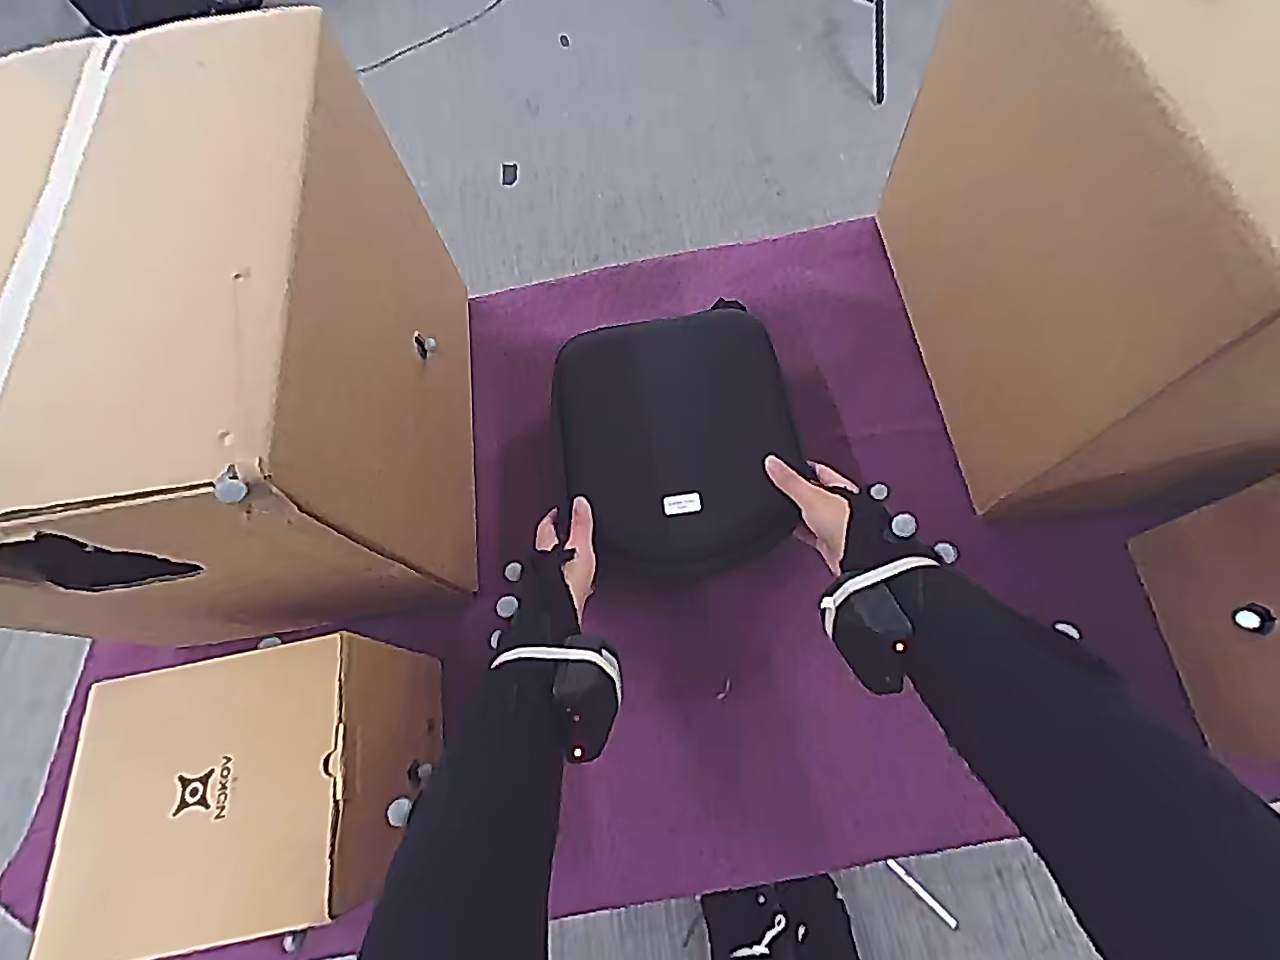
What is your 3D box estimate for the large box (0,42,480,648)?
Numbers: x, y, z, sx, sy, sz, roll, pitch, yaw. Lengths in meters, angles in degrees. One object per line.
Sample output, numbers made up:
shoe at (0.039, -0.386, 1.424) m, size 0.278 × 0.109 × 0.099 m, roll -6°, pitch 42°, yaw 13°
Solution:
large box at (-0.355, -0.086, 0.493) m, size 0.320 × 0.320 × 0.408 m, roll -11°, pitch 69°, yaw 1°
